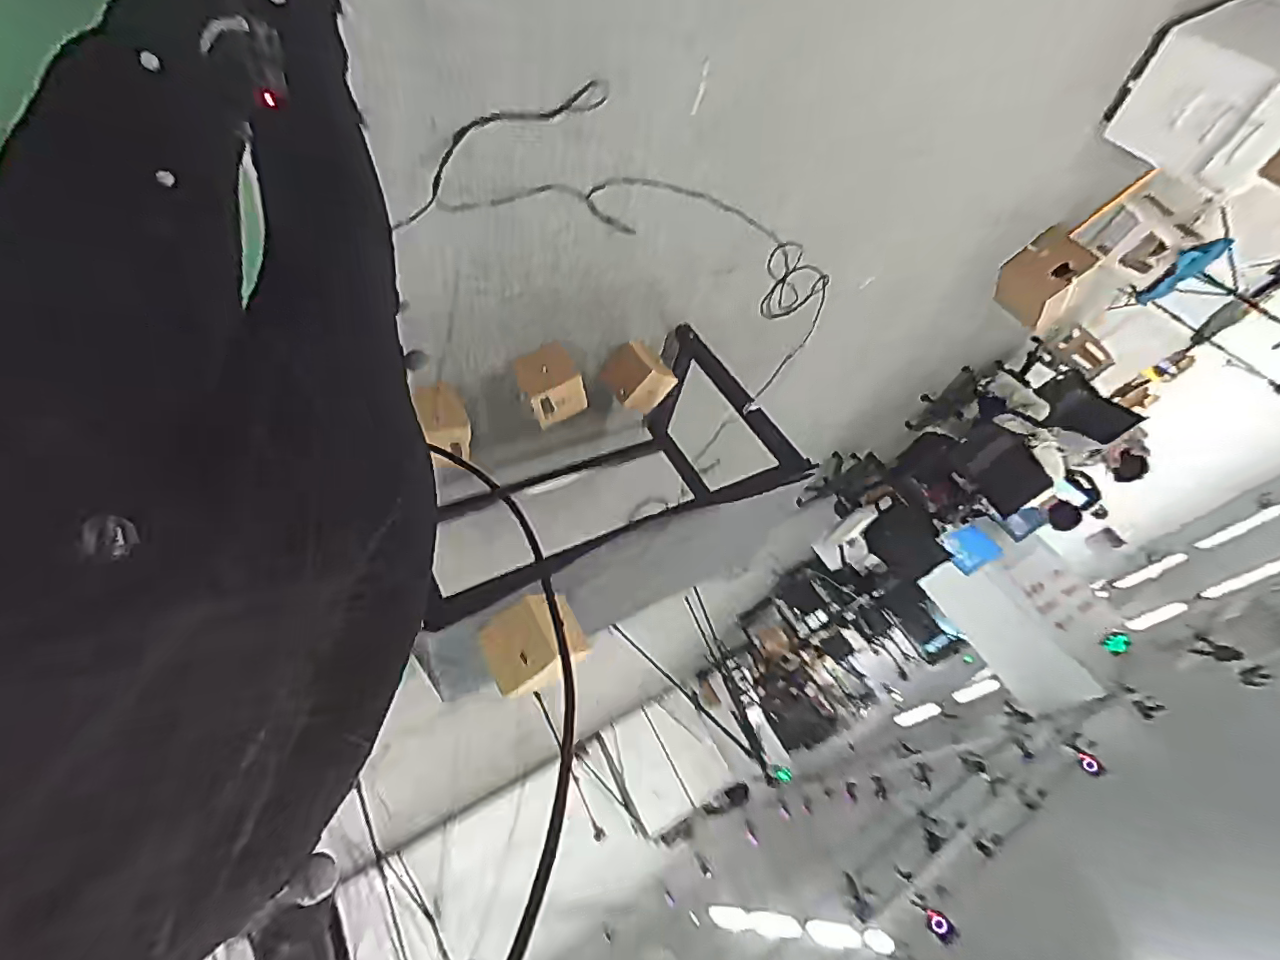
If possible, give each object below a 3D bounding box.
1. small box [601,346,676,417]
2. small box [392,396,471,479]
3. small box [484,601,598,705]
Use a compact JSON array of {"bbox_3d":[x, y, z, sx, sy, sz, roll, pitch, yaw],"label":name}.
[{"bbox_3d":[-0.010,-0.356,1.956,0.179,0.176,0.168,-47,152,24],"label":"small box"},{"bbox_3d":[-0.624,-0.132,1.616,0.179,0.176,0.168,-16,148,-31],"label":"small box"},{"bbox_3d":[-0.240,0.403,1.296,0.179,0.176,0.168,-41,156,12],"label":"small box"}]
